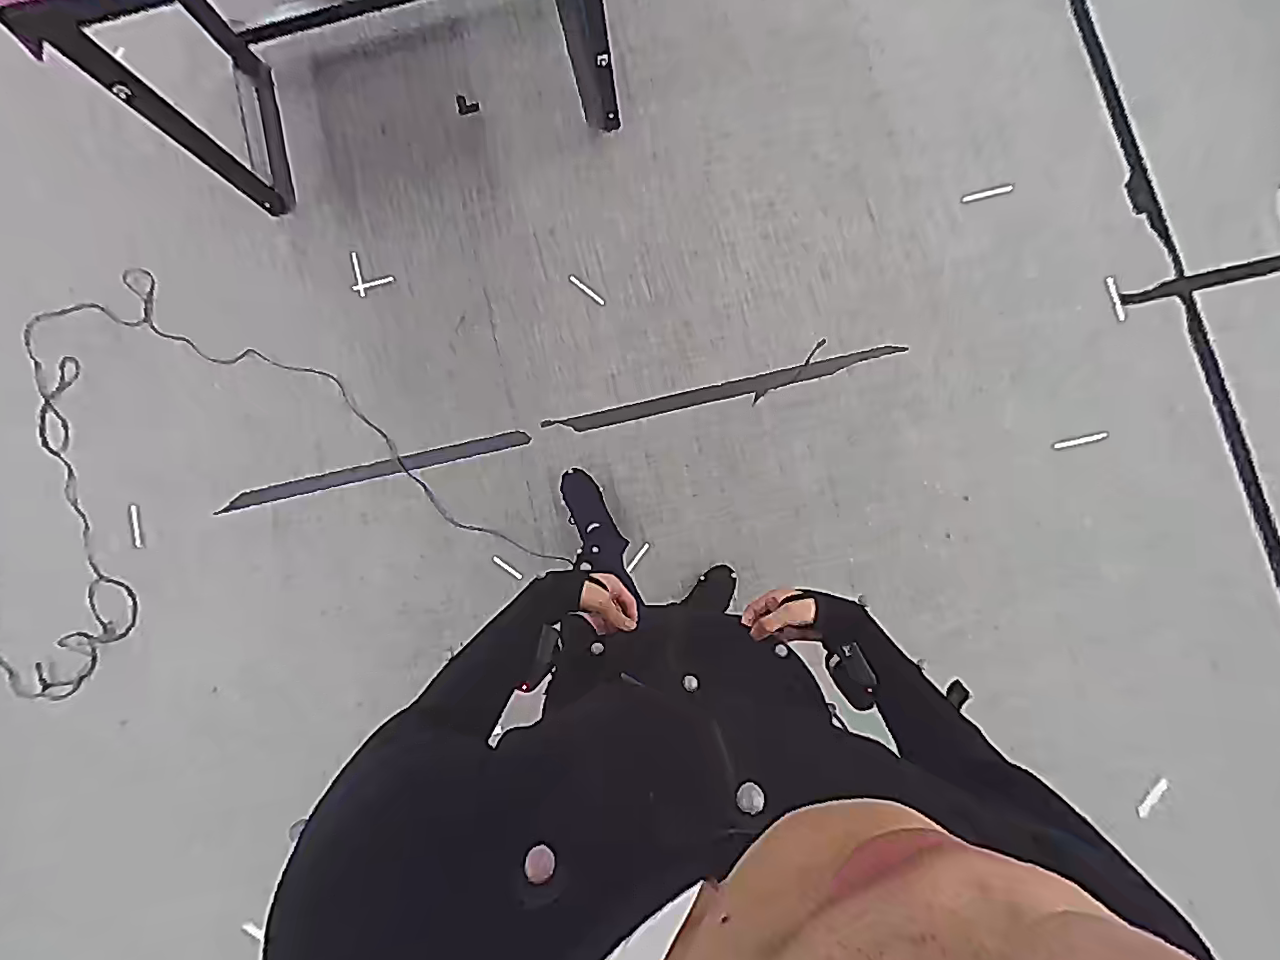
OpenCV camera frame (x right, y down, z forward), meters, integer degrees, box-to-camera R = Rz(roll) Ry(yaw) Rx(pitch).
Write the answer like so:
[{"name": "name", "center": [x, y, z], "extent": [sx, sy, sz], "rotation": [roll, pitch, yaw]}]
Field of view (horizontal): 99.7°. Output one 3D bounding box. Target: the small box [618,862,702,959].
[{"name": "small box", "center": [0.060, 1.164, 1.431], "extent": [0.179, 0.176, 0.168], "rotation": [-21, 84, 3]}]
